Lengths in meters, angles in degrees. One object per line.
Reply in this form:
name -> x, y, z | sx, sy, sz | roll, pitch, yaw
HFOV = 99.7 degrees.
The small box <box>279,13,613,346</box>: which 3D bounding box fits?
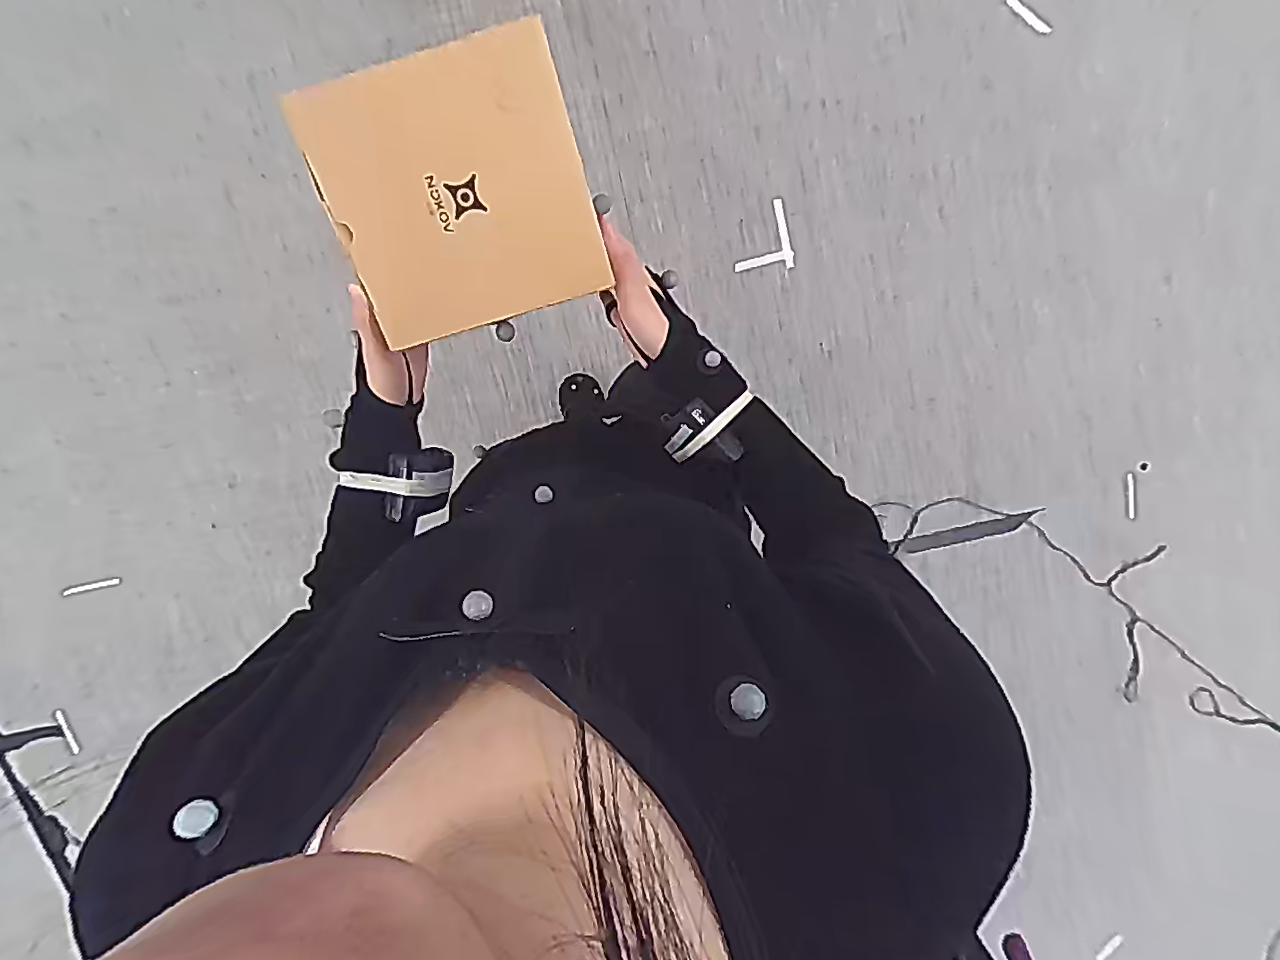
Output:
small box -> -0.129, -0.223, 0.437 | 0.179, 0.176, 0.168 | -16, 112, 3
